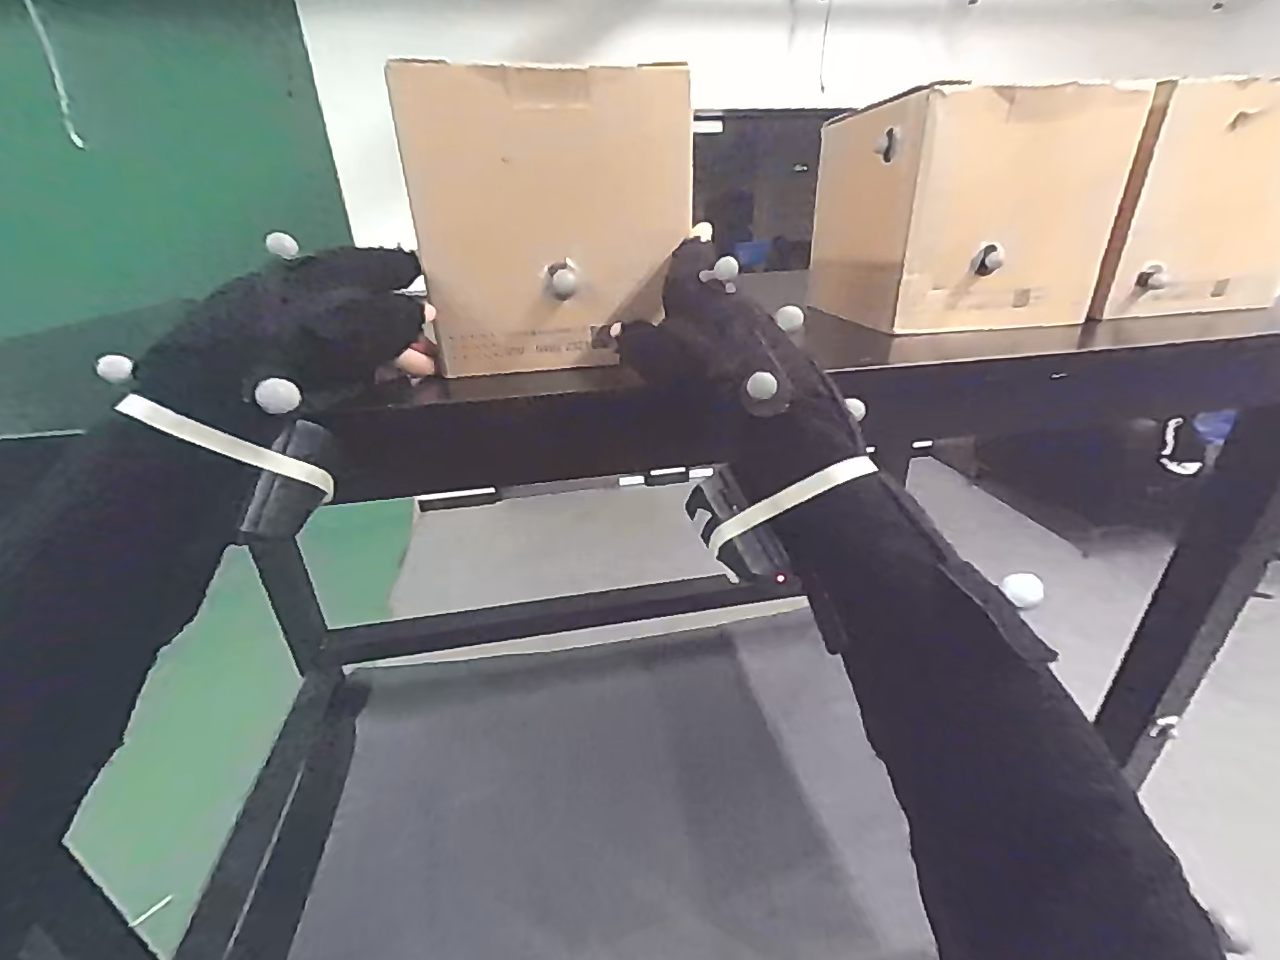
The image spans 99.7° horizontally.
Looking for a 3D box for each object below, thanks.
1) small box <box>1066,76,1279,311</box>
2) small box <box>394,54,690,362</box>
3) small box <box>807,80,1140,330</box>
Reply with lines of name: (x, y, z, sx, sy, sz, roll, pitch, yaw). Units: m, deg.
small box: (0.442, -0.253, 0.504, 0.168, 0.176, 0.179, -5, 24, -6)
small box: (-0.065, -0.189, 0.406, 0.168, 0.176, 0.179, -7, 26, -10)
small box: (0.263, -0.232, 0.481, 0.168, 0.176, 0.179, -4, 26, -6)
